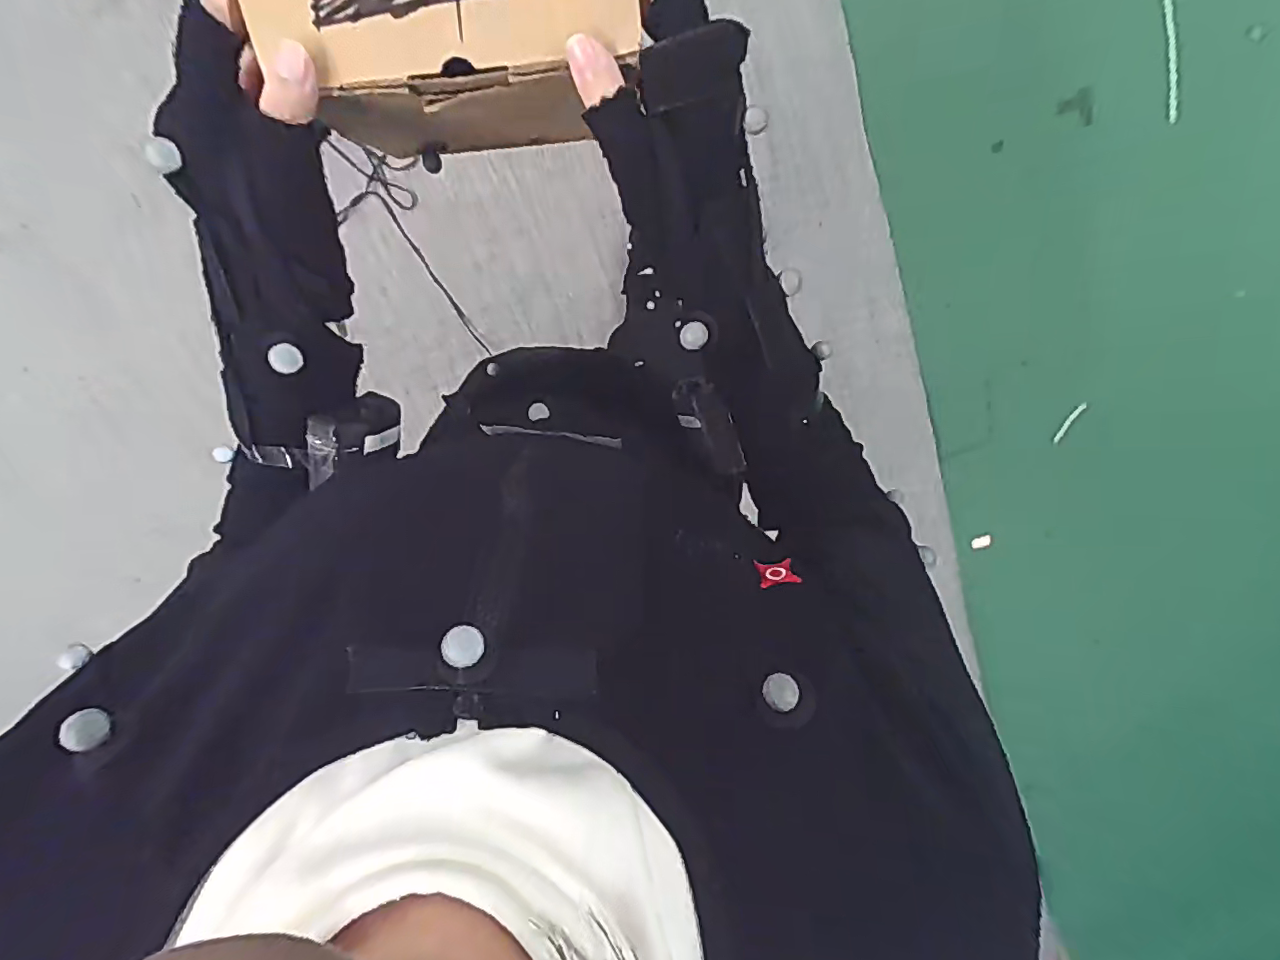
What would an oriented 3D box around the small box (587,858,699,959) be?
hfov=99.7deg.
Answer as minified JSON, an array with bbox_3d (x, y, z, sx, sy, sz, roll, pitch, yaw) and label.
[{"bbox_3d":[0.012,0.824,0.961,0.168,0.176,0.179,-15,104,3],"label":"small box"}]

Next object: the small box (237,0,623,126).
[{"bbox_3d":[-0.098,-0.300,0.276,0.168,0.176,0.179,-7,111,-2],"label":"small box"}]
